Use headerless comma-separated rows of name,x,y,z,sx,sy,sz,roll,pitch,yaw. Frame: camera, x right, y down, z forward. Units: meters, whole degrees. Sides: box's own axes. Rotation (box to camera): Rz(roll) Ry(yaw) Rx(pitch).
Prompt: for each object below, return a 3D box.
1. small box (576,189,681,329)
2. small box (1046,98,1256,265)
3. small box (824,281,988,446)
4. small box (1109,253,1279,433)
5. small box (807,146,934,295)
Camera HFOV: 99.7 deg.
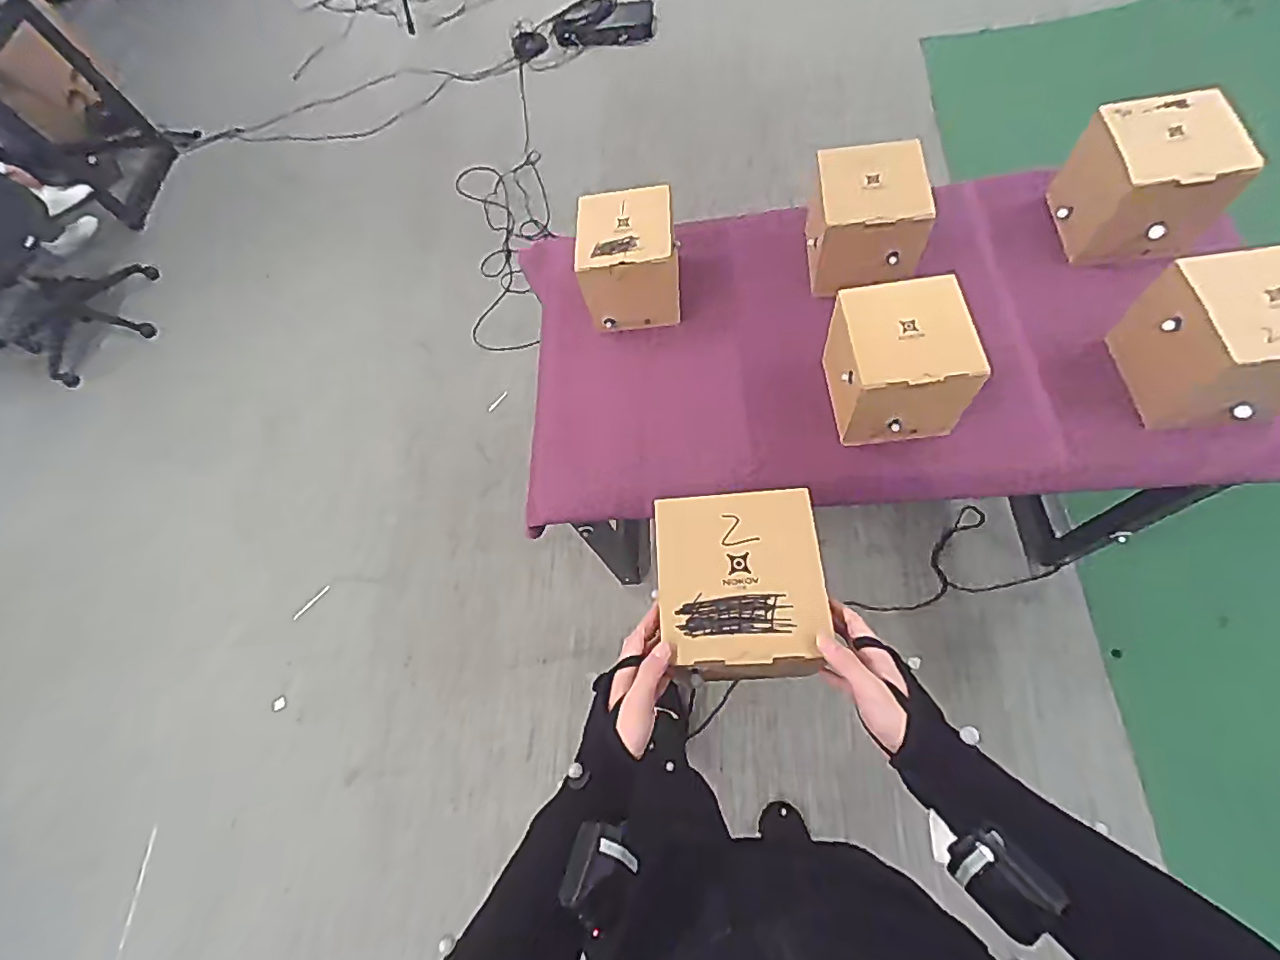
small box,-0.014,-0.397,1.000,0.168,0.176,0.179,-3,65,8
small box,0.813,-0.473,0.885,0.168,0.176,0.179,-2,69,9
small box,0.389,-0.172,0.830,0.168,0.176,0.179,-6,65,7
small box,0.814,-0.185,0.755,0.168,0.176,0.179,-4,65,10
small box,0.393,-0.444,0.951,0.168,0.176,0.179,-1,66,9
